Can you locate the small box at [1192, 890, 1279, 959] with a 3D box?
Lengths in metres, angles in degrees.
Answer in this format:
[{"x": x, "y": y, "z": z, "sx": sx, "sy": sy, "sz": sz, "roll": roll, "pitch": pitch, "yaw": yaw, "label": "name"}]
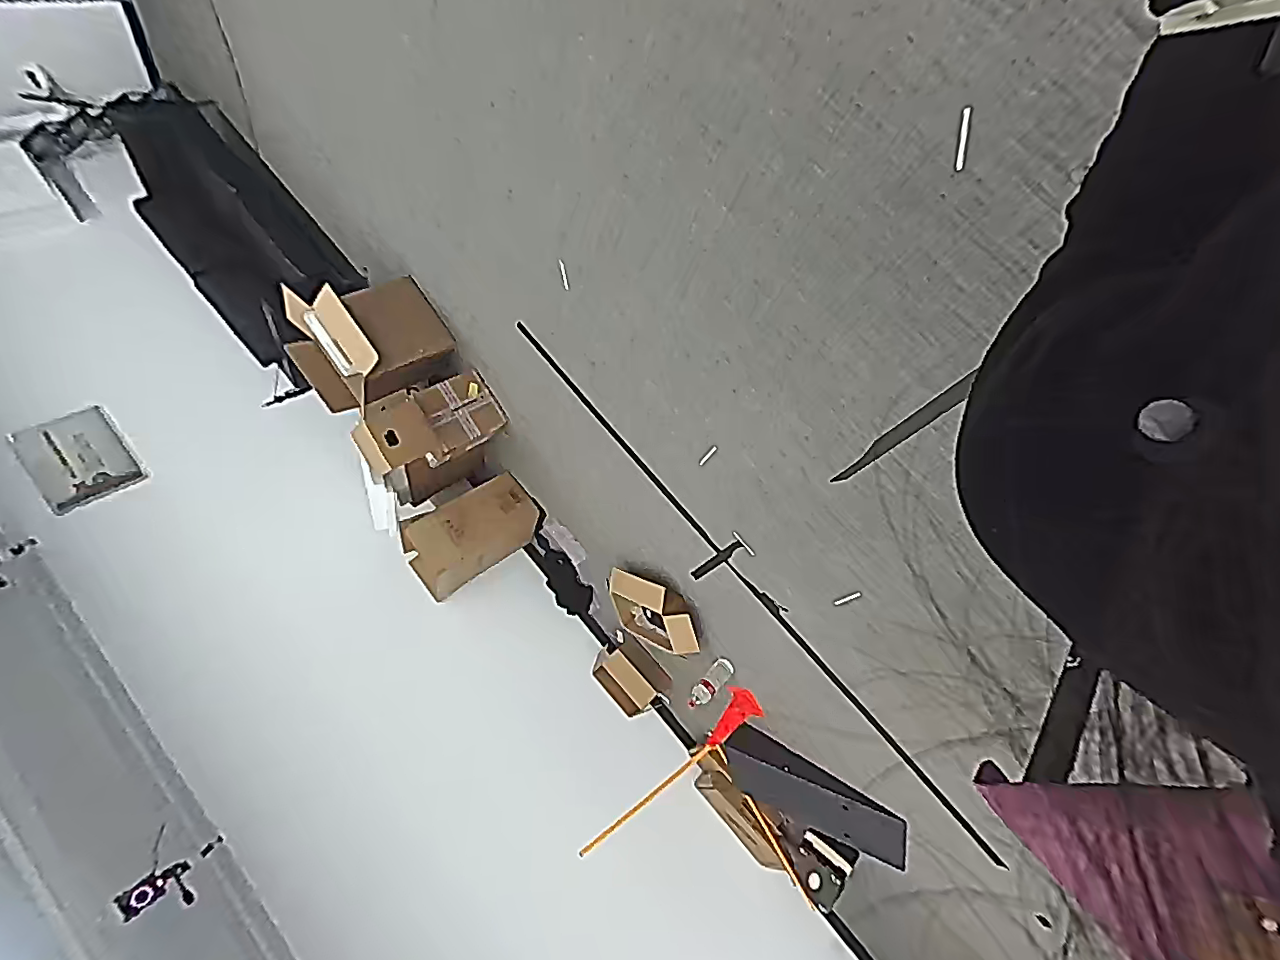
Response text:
[{"x": 0.920, "y": 0.721, "z": 0.738, "sx": 0.179, "sy": 0.176, "sz": 0.168, "roll": 51, "pitch": 147, "yaw": 6, "label": "small box"}]
